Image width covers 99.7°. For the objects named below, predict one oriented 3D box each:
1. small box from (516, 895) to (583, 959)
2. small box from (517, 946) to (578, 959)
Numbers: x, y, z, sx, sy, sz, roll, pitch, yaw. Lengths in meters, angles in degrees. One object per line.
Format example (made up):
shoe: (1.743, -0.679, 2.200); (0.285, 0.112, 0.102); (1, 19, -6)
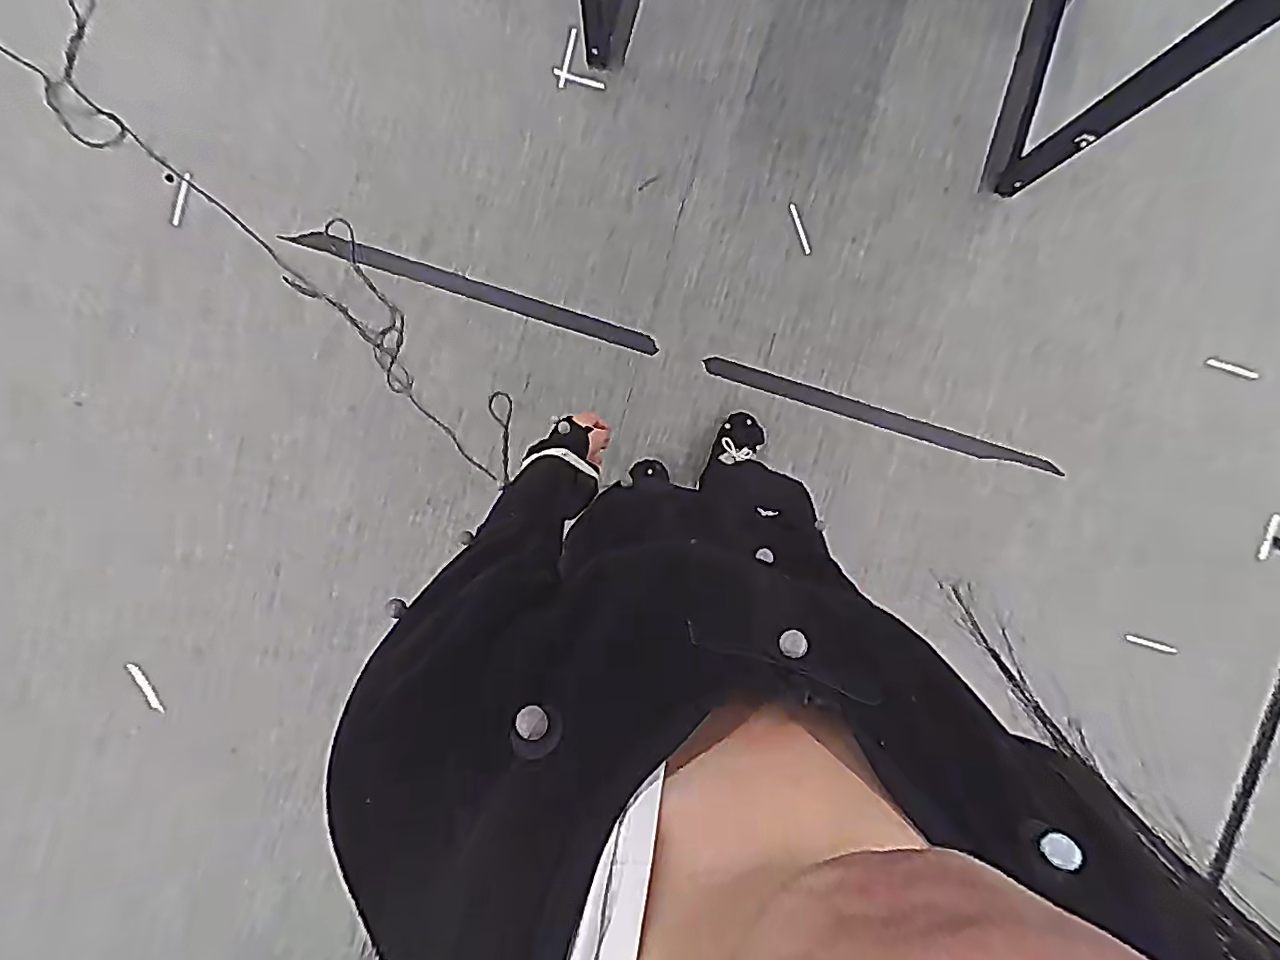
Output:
small box: (-0.251, 1.285, 1.479); (0.168, 0.176, 0.179); (9, 93, -2)
small box: (-0.243, 1.301, 1.315); (0.168, 0.176, 0.179); (11, 94, -3)
